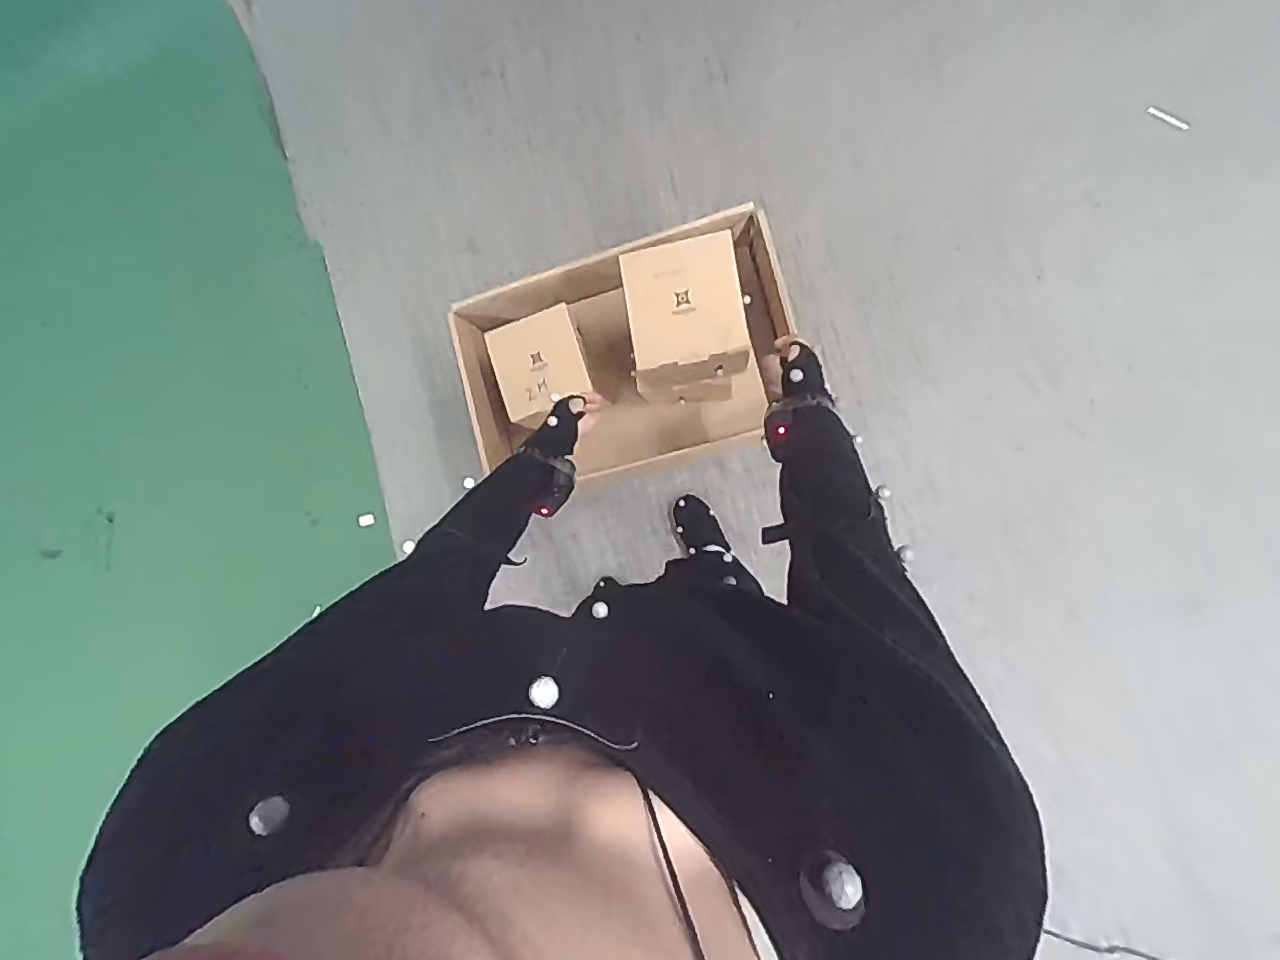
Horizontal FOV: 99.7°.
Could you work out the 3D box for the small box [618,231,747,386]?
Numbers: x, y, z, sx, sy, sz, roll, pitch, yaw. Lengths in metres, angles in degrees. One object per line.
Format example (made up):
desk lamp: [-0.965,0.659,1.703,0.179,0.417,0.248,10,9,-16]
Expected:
small box: [0.072,-0.251,0.842,0.168,0.176,0.179,-9,88,8]

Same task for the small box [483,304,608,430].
small box: [-0.174,-0.208,1.045,0.168,0.176,0.179,-18,87,9]
